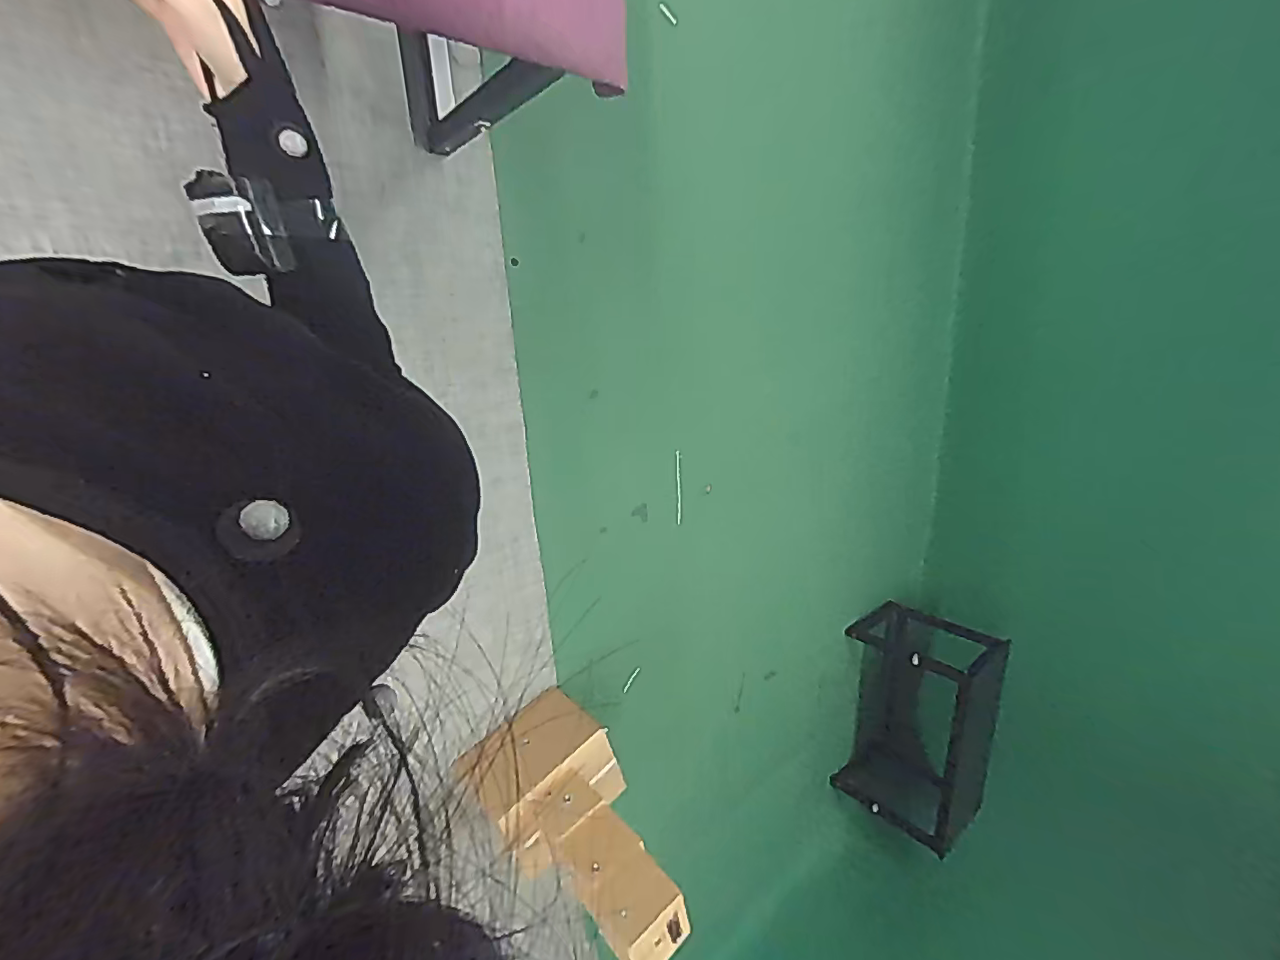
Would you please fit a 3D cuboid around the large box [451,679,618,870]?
[{"bbox_3d":[-0.351,0.970,1.831,0.408,0.320,0.320,-33,122,-33],"label":"large box"}]

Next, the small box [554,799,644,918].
[{"bbox_3d":[-0.114,1.040,1.504,0.179,0.176,0.168,-24,116,-34],"label":"small box"}]

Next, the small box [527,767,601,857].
[{"bbox_3d":[-0.217,1.002,1.623,0.168,0.176,0.179,-26,117,-34],"label":"small box"}]
